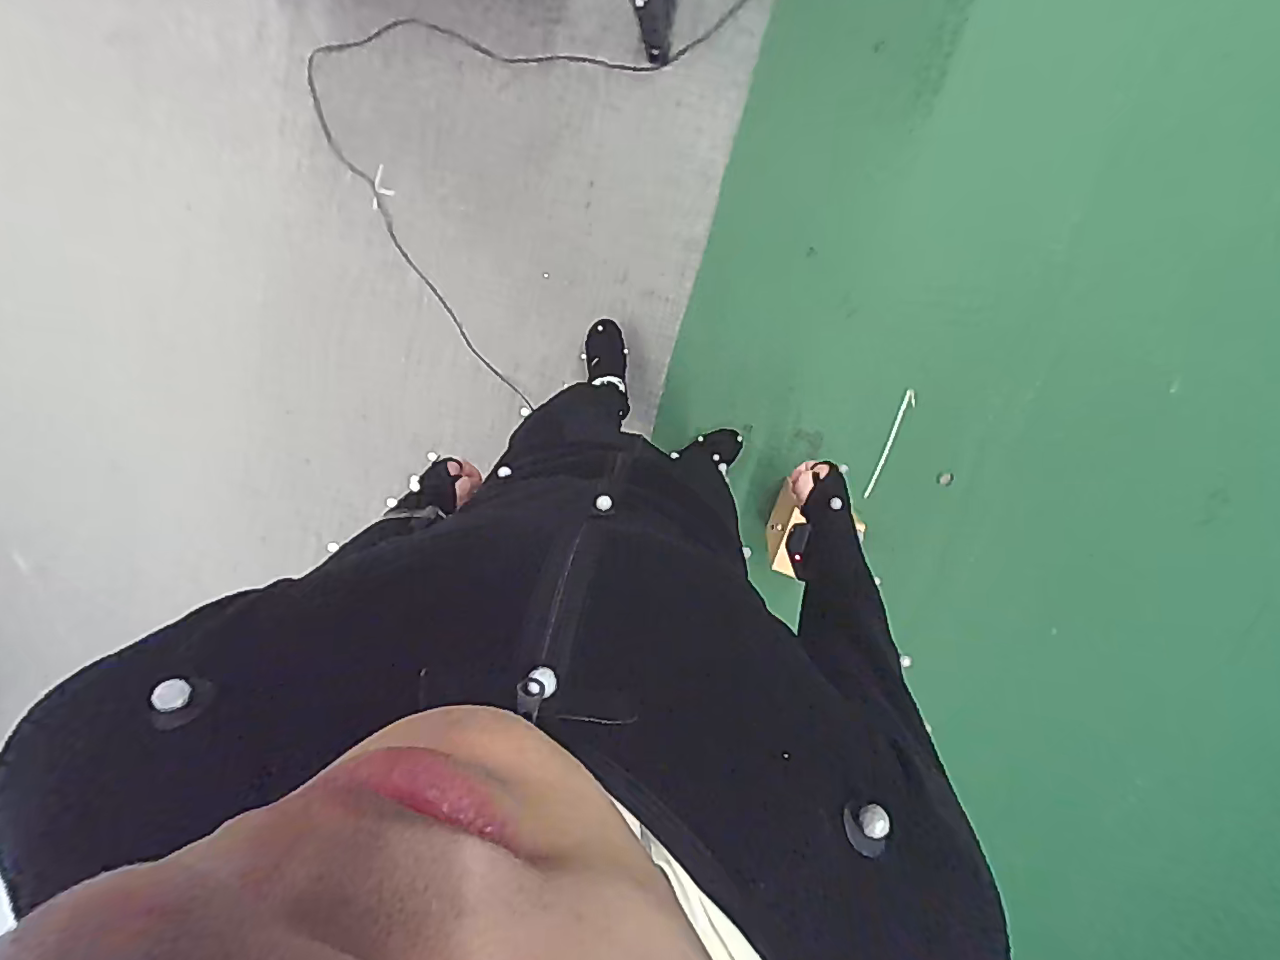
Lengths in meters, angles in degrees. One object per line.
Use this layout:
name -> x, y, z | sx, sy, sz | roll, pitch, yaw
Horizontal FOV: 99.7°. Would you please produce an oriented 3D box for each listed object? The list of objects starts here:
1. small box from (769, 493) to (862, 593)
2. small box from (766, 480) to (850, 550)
small box -> 0.427, 0.149, 1.346 | 0.168, 0.176, 0.179 | 19, 103, 6
small box -> 0.459, 0.118, 1.502 | 0.168, 0.176, 0.179 | 20, 104, 6
